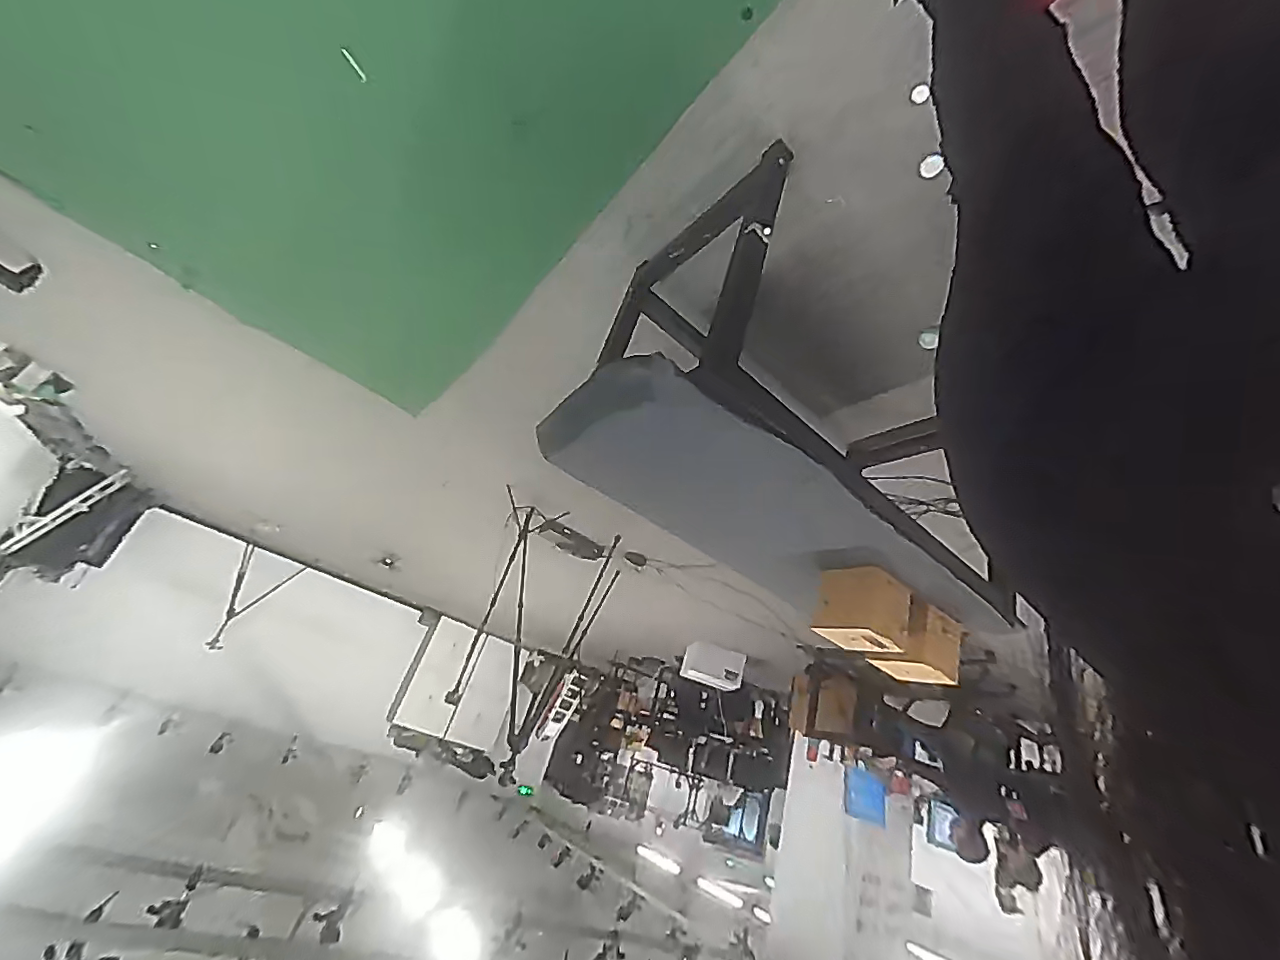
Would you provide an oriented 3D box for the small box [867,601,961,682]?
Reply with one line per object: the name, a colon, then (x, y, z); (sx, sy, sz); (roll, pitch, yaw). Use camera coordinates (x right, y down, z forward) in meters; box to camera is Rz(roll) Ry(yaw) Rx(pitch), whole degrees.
small box: (0.771, 0.448, 1.515); (0.168, 0.176, 0.179); (32, 151, -24)
